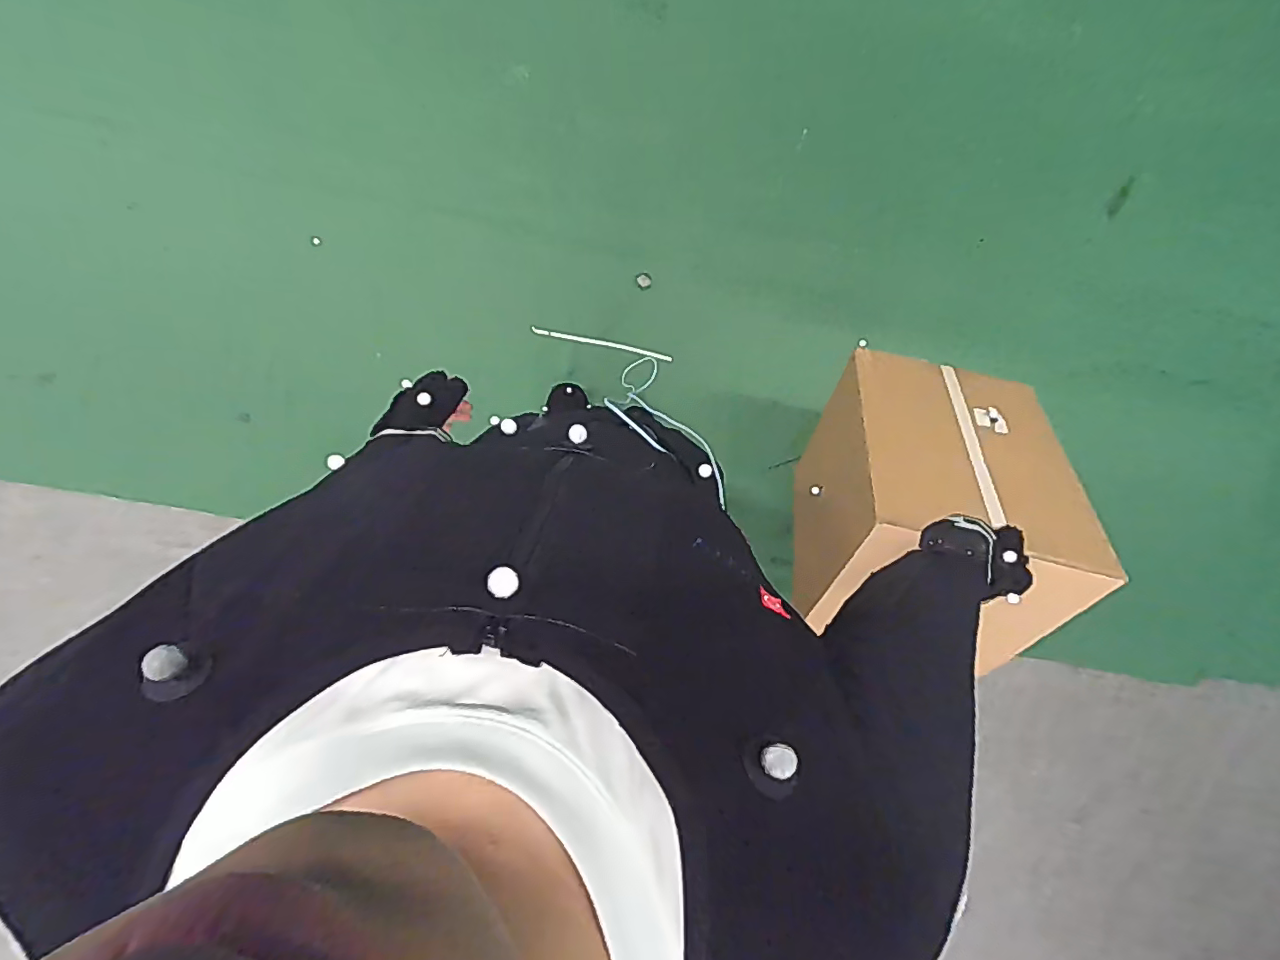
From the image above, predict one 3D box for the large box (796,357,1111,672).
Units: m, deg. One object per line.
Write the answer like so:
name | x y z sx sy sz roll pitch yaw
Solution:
large box | 0.465 0.054 0.927 0.320 0.408 0.320 14 137 2
